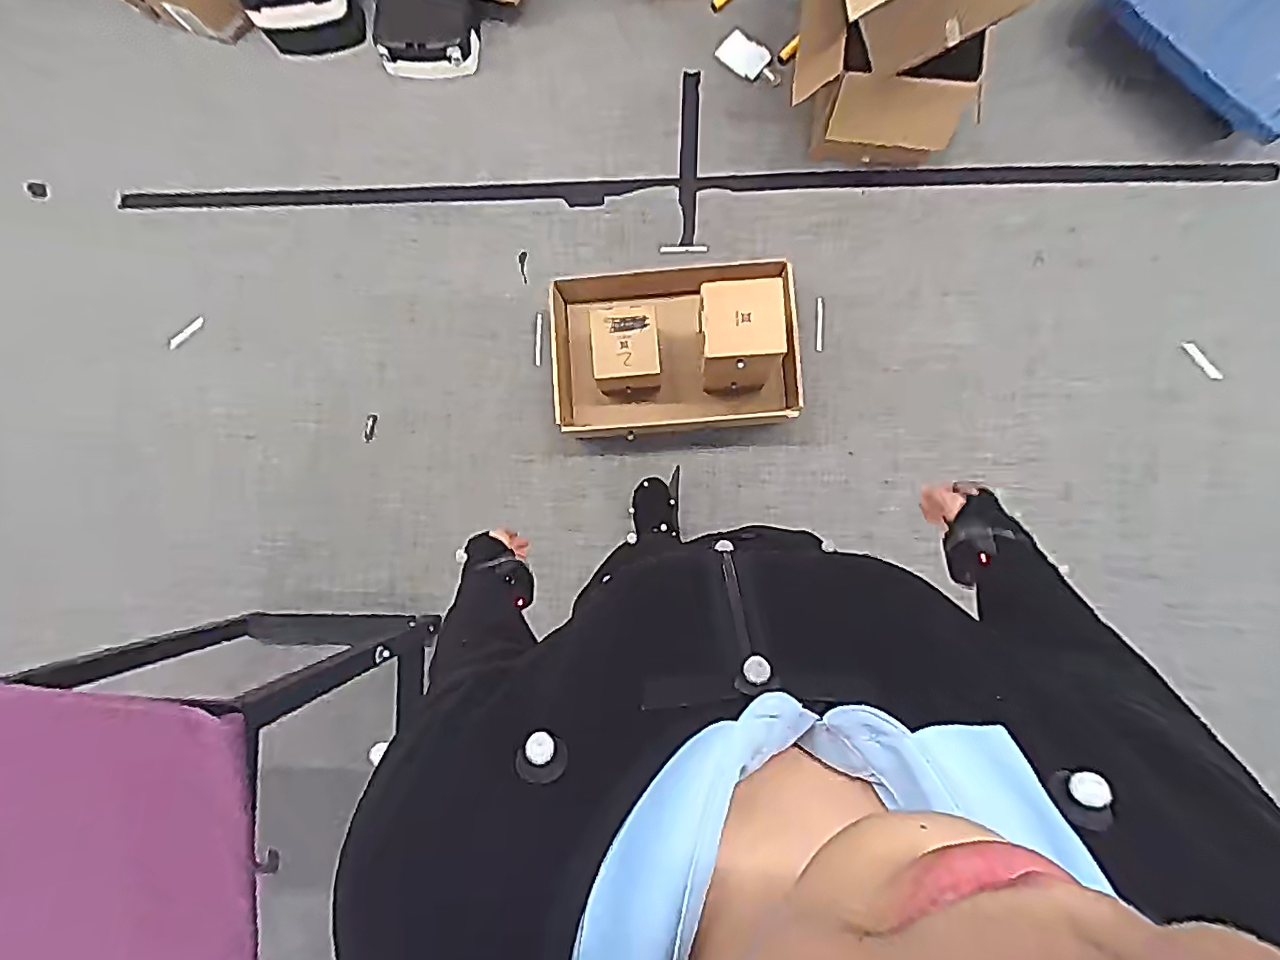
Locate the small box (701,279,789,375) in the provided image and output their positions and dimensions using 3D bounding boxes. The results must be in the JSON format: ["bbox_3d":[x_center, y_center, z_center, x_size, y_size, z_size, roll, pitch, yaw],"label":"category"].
[{"bbox_3d":[0.233,-0.342,1.237,0.179,0.176,0.168,-3,87,5],"label":"small box"}]

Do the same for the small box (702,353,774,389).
[{"bbox_3d":[0.248,-0.336,1.399,0.168,0.176,0.179,-2,86,4],"label":"small box"}]
